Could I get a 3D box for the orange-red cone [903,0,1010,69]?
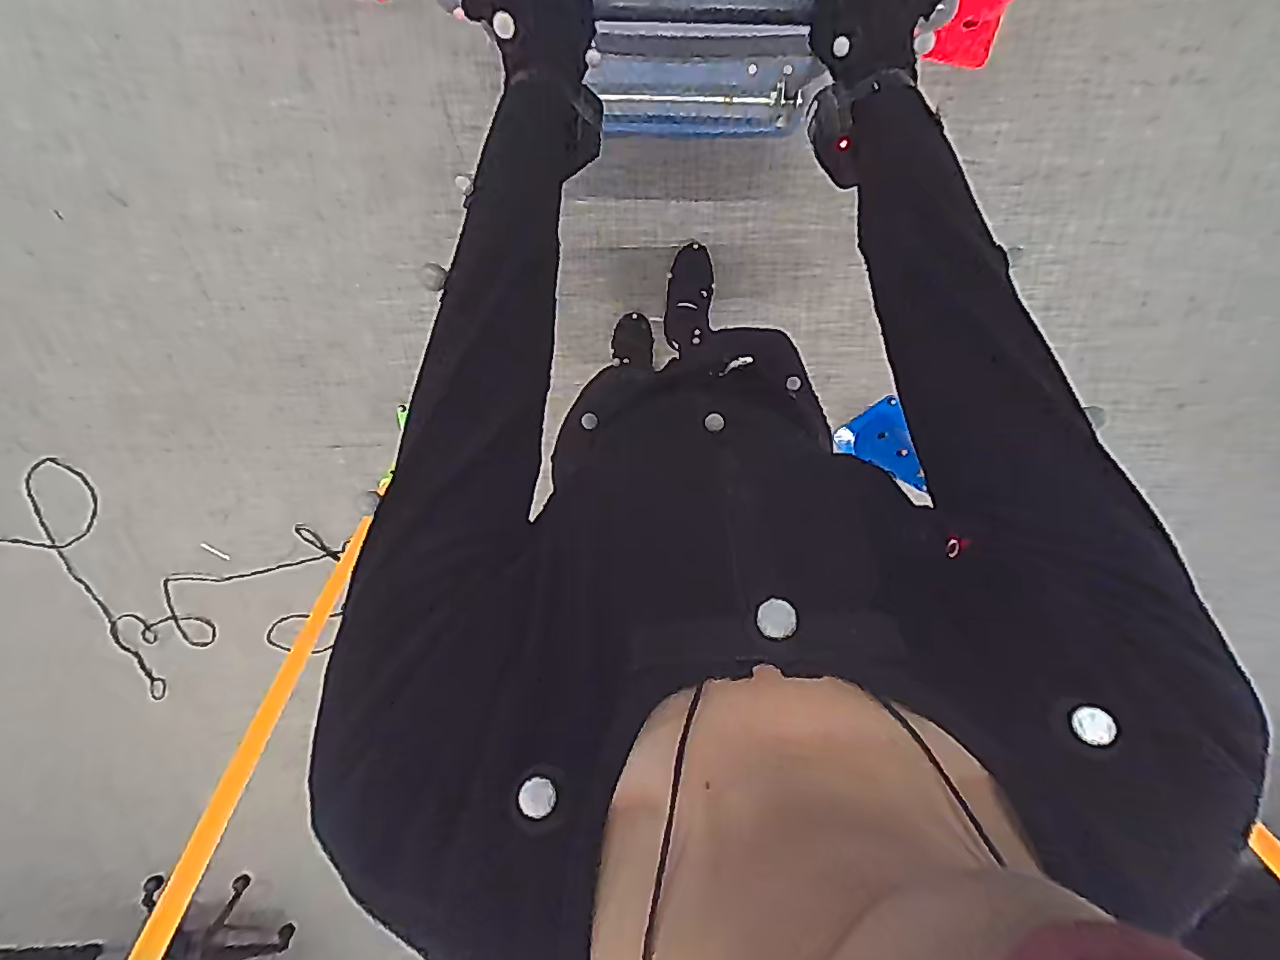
[{"bbox_3d":[0.684,-0.945,0.998,0.198,0.360,0.199,10,113,-4],"label":"orange-red cone"}]
